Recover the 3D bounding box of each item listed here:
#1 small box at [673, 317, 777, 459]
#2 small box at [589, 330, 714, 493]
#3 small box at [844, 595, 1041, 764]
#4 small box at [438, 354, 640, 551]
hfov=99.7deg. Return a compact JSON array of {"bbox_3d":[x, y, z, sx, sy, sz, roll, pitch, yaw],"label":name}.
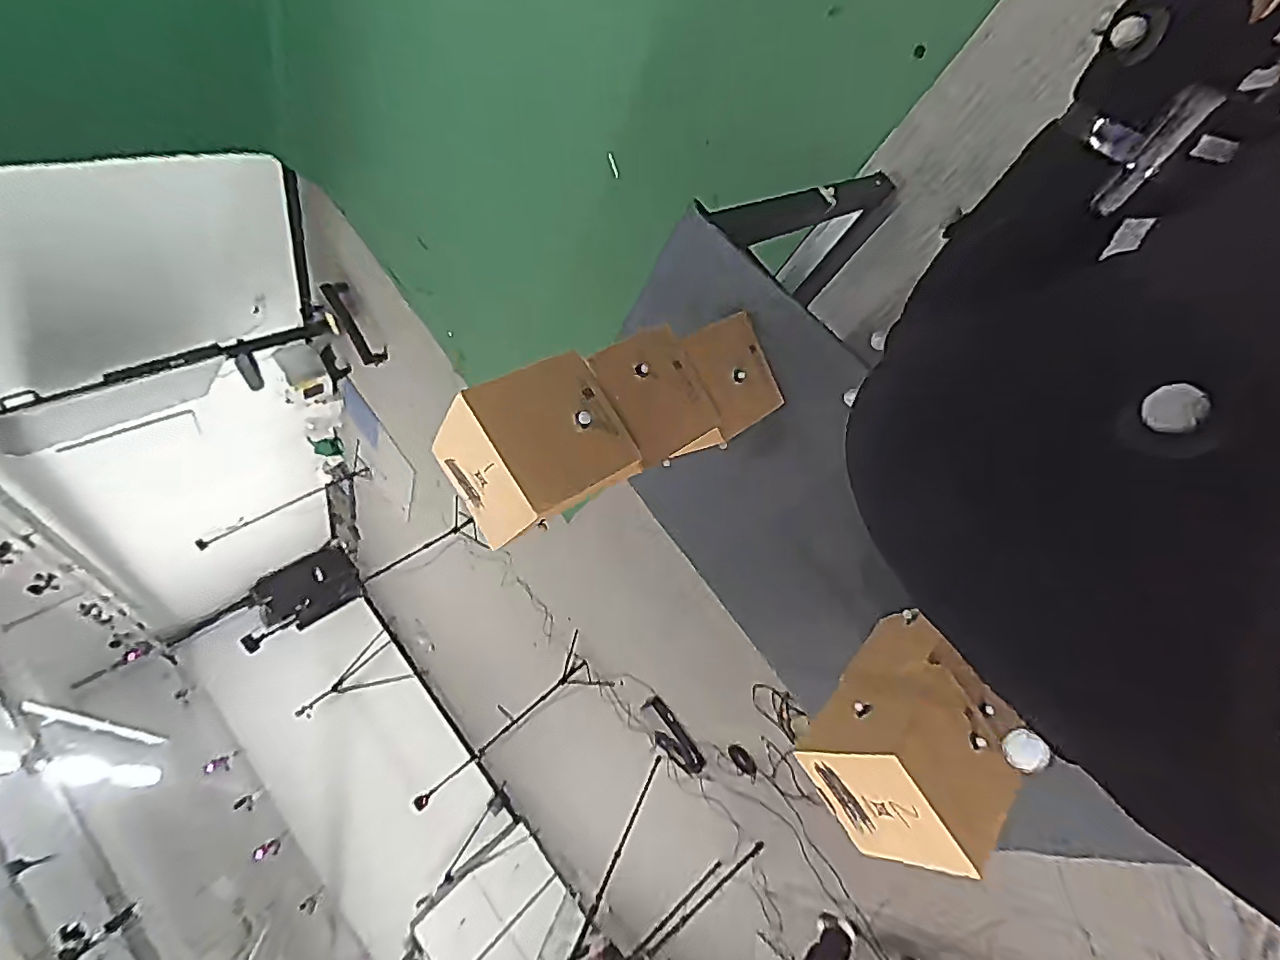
[{"bbox_3d":[0.103,-0.149,0.895,0.179,0.176,0.168,-13,105,54],"label":"small box"},{"bbox_3d":[-0.015,-0.097,0.796,0.179,0.176,0.168,-22,98,55],"label":"small box"},{"bbox_3d":[0.461,0.305,0.828,0.168,0.176,0.179,52,144,7],"label":"small box"},{"bbox_3d":[-0.130,-0.034,0.696,0.168,0.176,0.179,58,144,0],"label":"small box"}]
